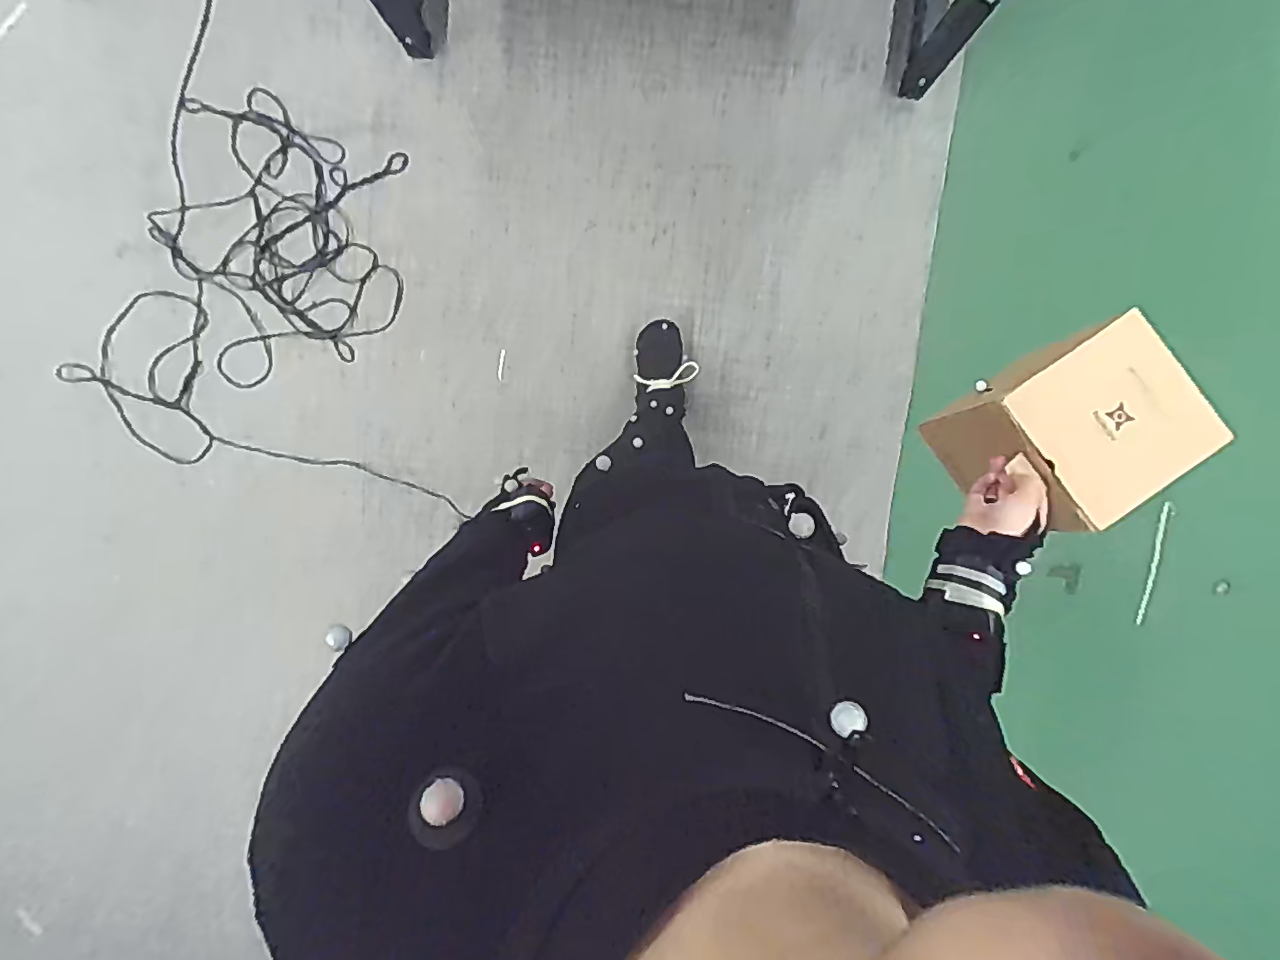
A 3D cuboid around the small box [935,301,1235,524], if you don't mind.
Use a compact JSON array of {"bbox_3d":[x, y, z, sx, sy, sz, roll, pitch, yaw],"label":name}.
[{"bbox_3d":[0.477,-0.062,0.618,0.179,0.176,0.168,-34,87,-3],"label":"small box"}]
